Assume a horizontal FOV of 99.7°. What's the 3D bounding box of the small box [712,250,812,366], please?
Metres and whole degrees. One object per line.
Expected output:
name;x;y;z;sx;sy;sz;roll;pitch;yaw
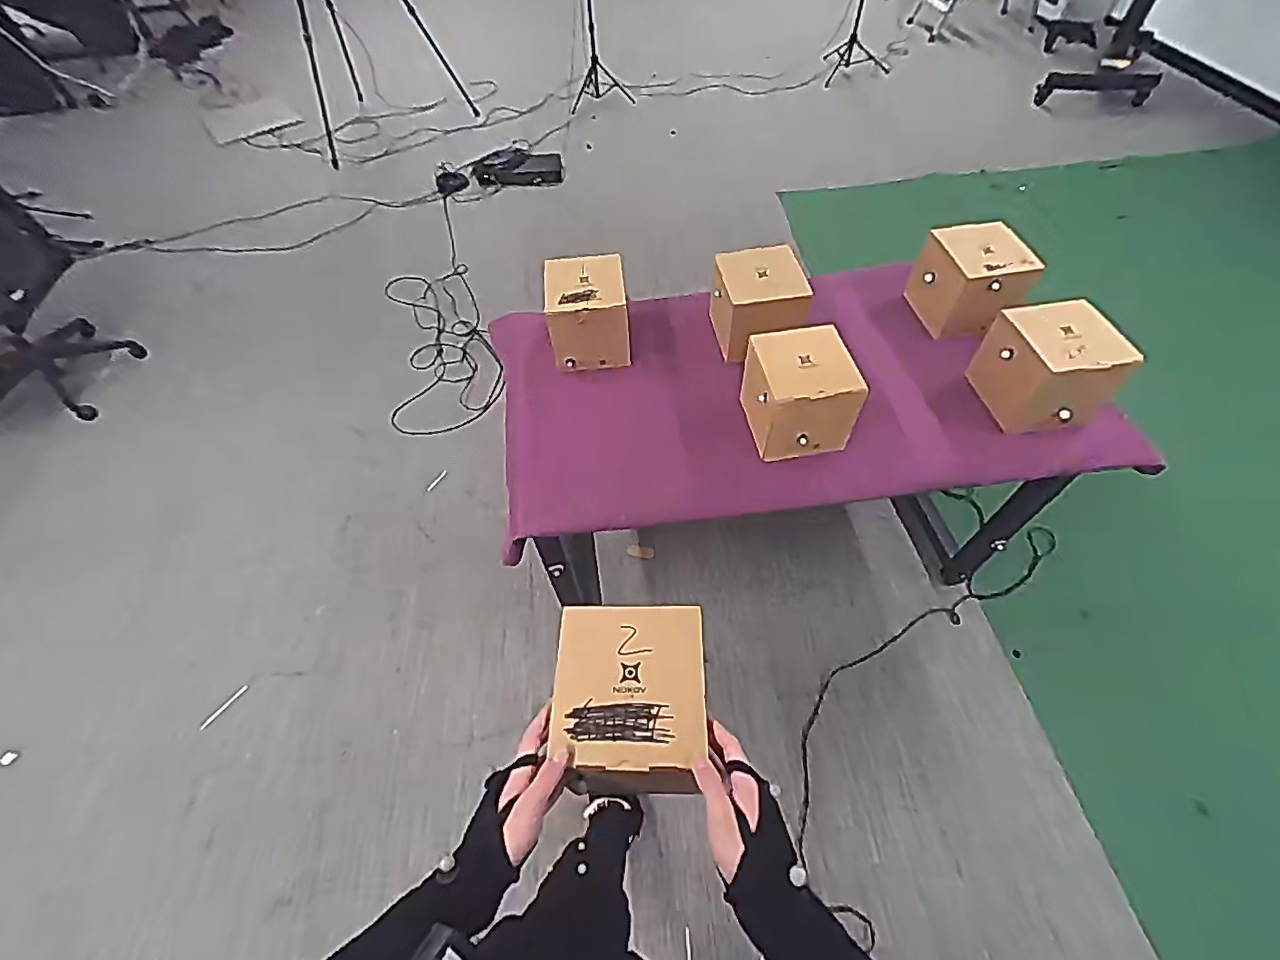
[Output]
small box;0.257;-0.375;1.187;0.168;0.176;0.179;-8;56;-2

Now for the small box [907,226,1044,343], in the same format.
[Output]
small box;0.726;-0.430;1.198;0.168;0.176;0.179;-9;55;-2

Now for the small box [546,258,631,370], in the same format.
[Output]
small box;-0.110;-0.358;1.188;0.168;0.176;0.179;-5;56;-2

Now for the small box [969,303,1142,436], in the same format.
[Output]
small box;0.777;-0.210;1.038;0.168;0.176;0.179;-8;54;0

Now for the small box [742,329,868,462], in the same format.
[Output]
small box;0.302;-0.159;1.034;0.168;0.176;0.179;-8;55;-3
